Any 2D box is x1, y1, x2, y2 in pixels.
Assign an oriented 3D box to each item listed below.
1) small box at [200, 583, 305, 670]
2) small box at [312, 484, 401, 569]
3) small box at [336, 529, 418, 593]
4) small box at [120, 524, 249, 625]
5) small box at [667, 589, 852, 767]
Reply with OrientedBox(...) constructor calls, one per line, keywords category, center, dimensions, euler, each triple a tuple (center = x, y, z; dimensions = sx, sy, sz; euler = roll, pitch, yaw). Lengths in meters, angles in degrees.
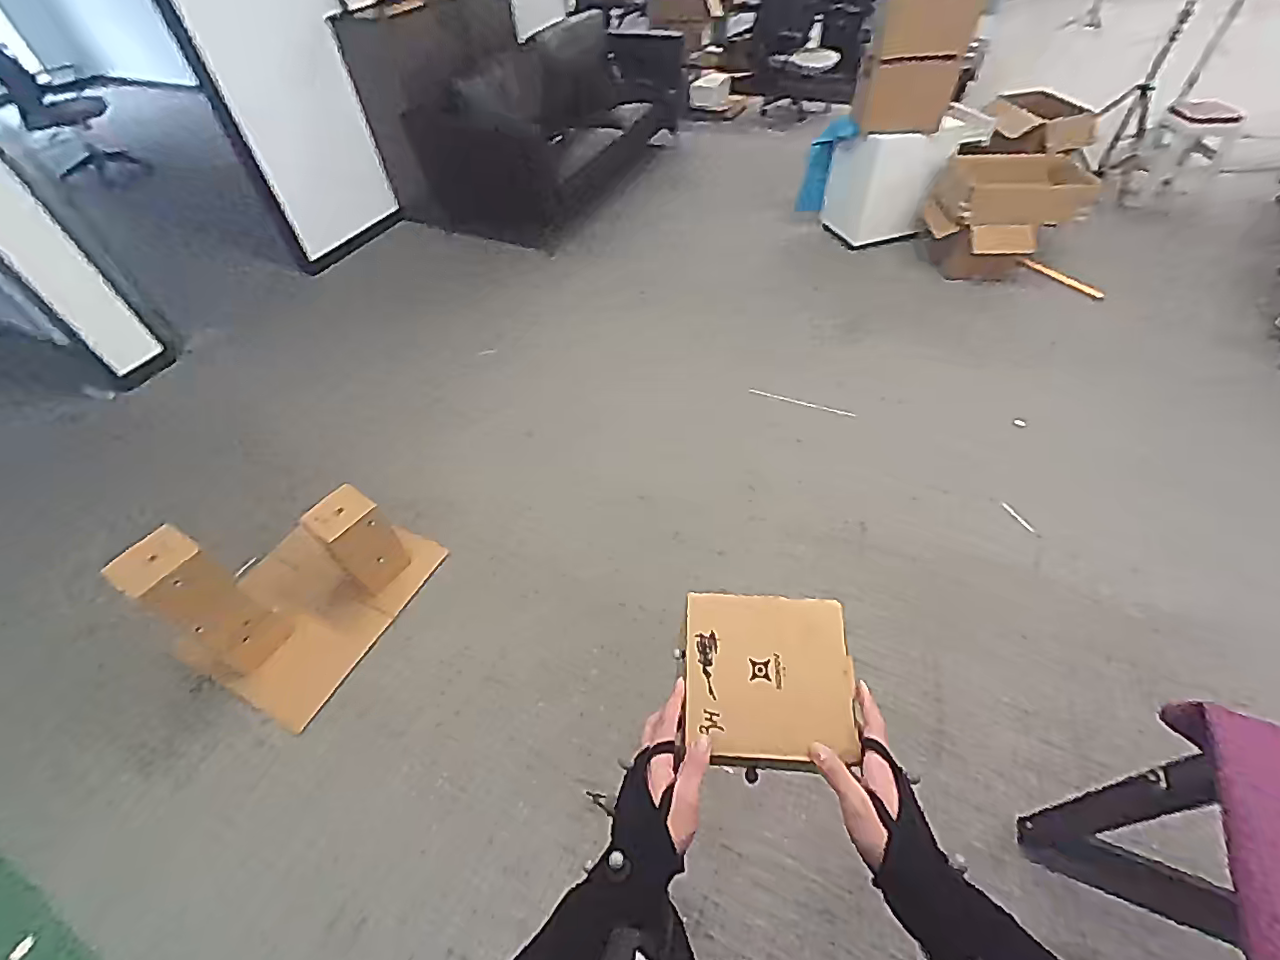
OrientedBox(category="small box", center=(-1.217, 0.468, 1.713), dimensions=(0.168, 0.176, 0.179), euler=(23, 54, 21))
OrientedBox(category="small box", center=(-0.901, 0.151, 1.744), dimensions=(0.168, 0.176, 0.179), euler=(27, 58, 25))
OrientedBox(category="small box", center=(-0.899, 0.255, 1.873), dimensions=(0.168, 0.176, 0.179), euler=(24, 56, 22))
OrientedBox(category="small box", center=(-1.219, 0.259, 1.460), dimensions=(0.168, 0.176, 0.179), euler=(25, 55, 22))
OrientedBox(category="small box", center=(0.127, 0.241, 0.643), dimensions=(0.179, 0.176, 0.168), euler=(3, 59, 2))
